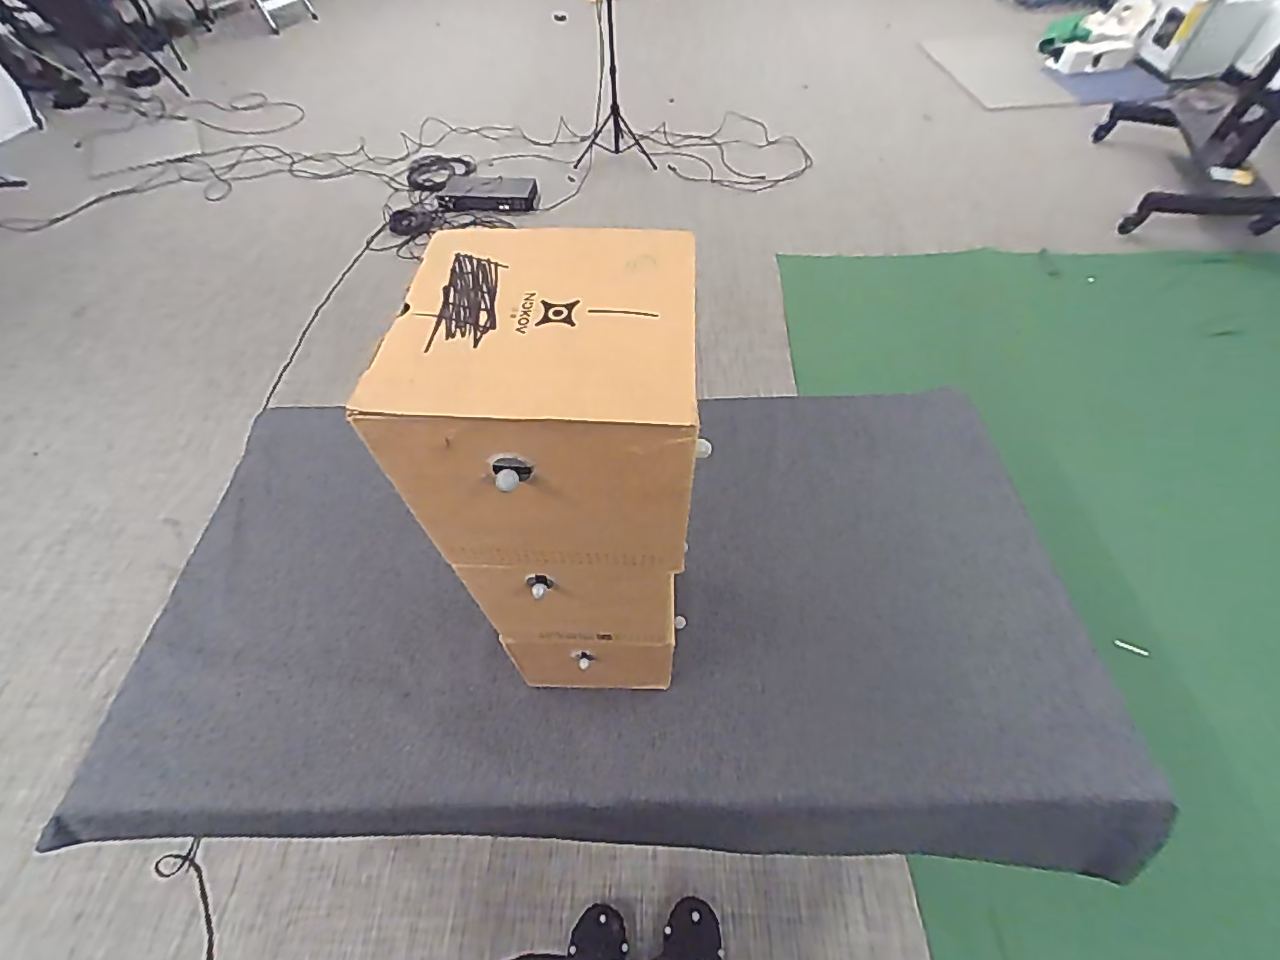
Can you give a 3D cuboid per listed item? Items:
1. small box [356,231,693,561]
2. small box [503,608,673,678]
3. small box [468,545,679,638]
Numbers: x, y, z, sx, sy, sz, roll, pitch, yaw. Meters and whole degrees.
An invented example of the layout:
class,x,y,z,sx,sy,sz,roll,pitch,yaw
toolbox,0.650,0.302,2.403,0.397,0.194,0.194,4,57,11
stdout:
class,x,y,z,sx,sy,sz,roll,pitch,yaw
small box,-0.055,-0.053,0.385,0.179,0.176,0.168,3,56,3
small box,-0.049,0.134,0.655,0.179,0.176,0.168,1,55,1
small box,-0.051,0.039,0.525,0.168,0.176,0.179,0,56,1
